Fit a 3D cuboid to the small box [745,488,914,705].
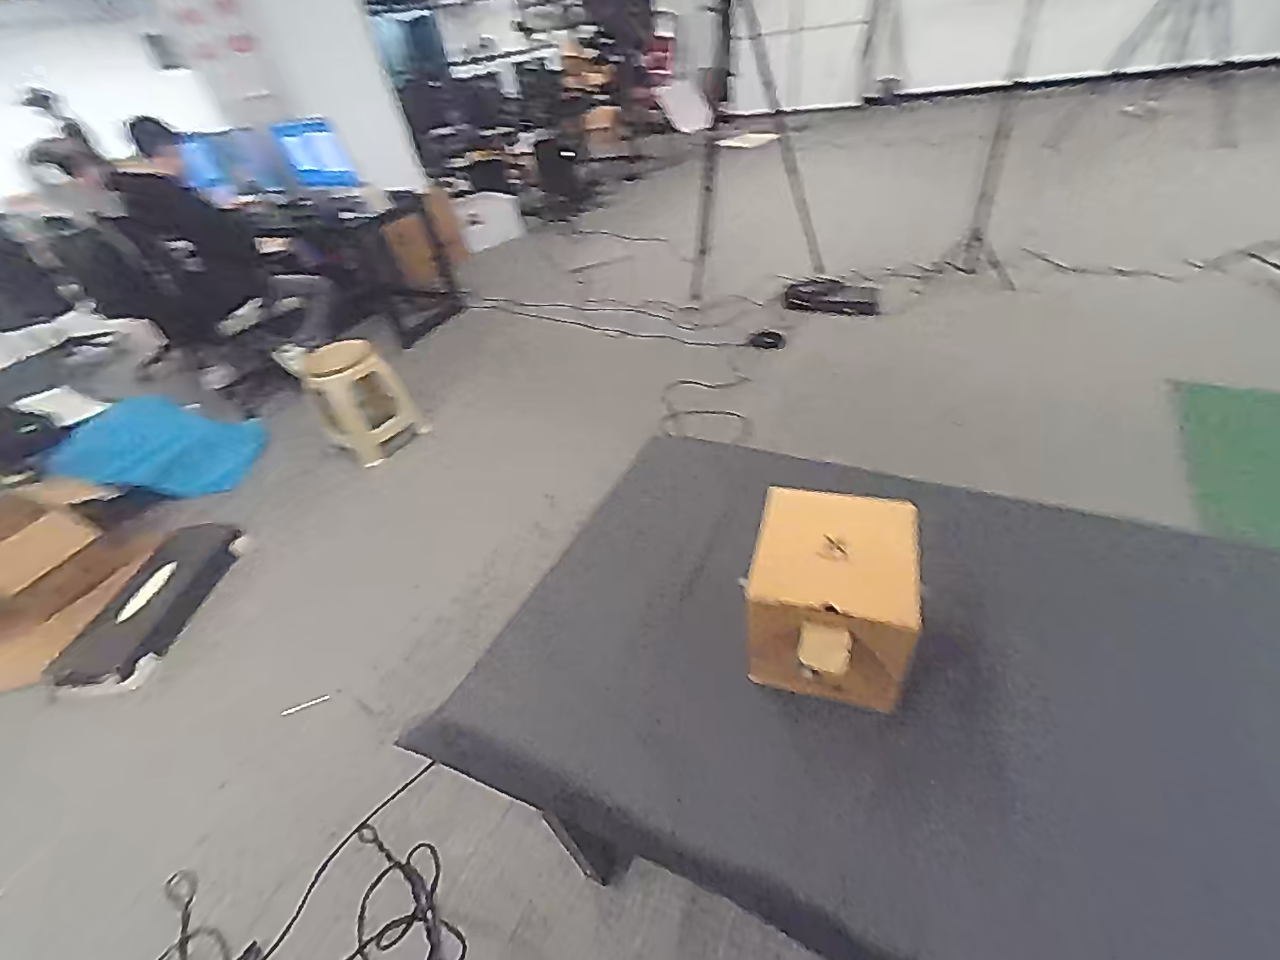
[{"bbox_3d":[0.220,0.135,0.649,0.168,0.176,0.179,6,43,18],"label":"small box"}]
